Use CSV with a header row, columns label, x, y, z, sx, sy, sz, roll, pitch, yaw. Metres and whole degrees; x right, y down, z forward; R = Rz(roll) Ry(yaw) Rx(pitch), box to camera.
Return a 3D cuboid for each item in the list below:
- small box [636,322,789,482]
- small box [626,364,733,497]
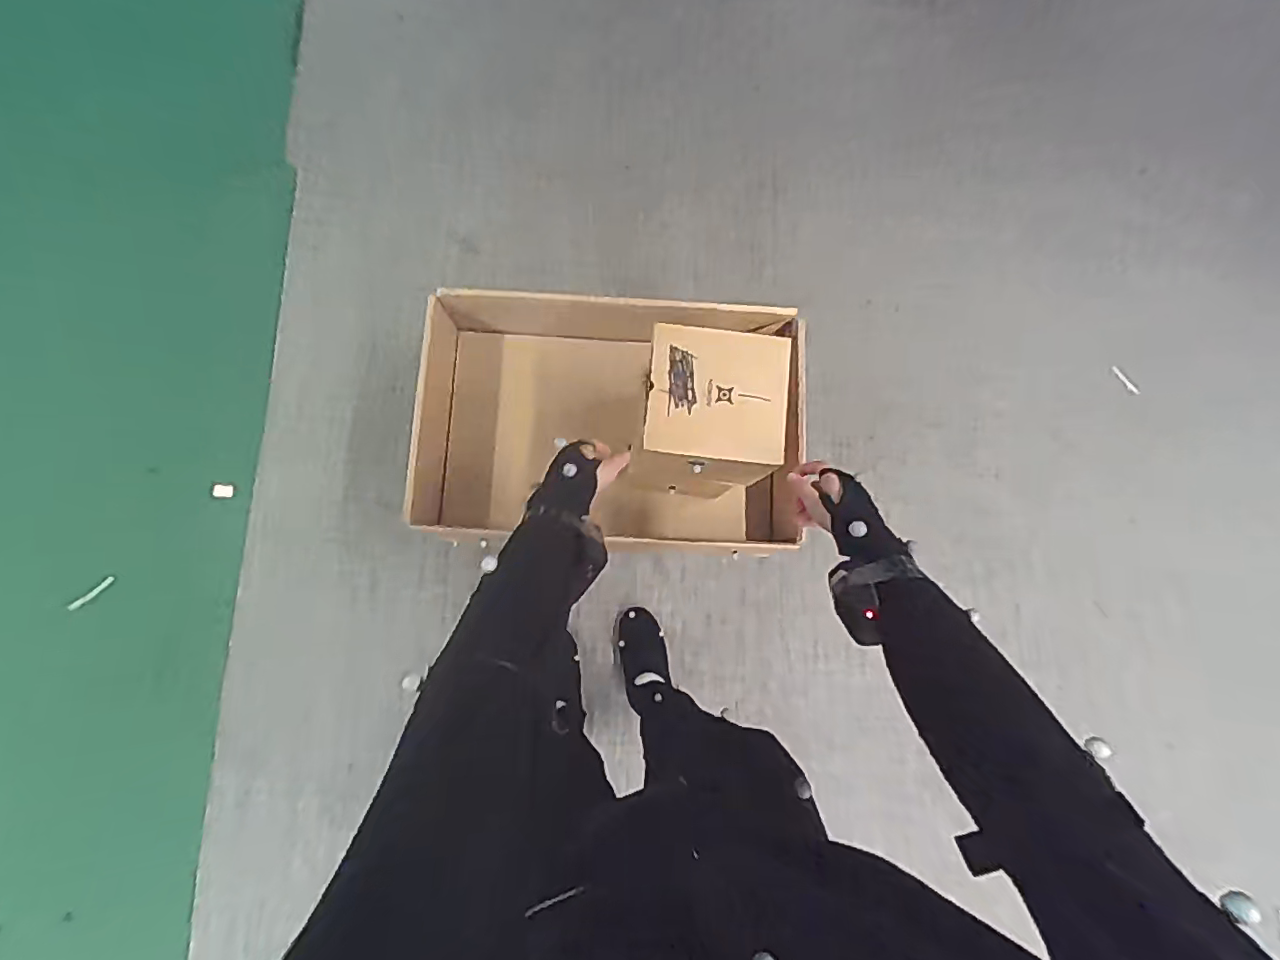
label,x,y,z,sx,sy,sz,roll,pitch,yaw
small box,0.089,-0.096,0.740,0.179,0.176,0.168,6,81,-1
small box,0.071,-0.072,0.902,0.168,0.176,0.179,8,80,-1
